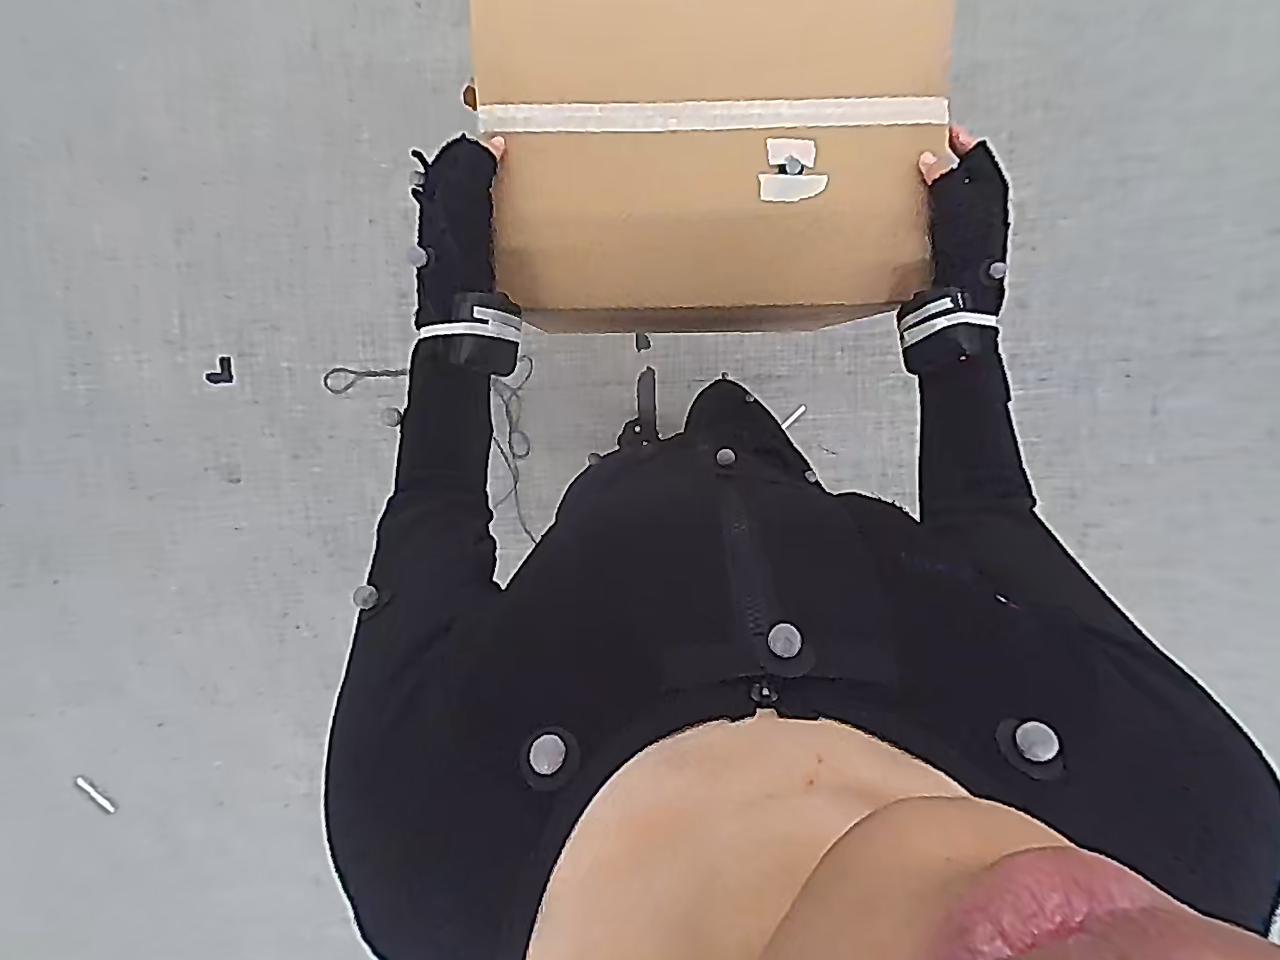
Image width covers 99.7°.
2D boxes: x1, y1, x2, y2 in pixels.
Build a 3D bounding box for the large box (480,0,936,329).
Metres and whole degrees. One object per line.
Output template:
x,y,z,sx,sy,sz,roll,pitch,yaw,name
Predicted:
0.058,-0.355,0.632,0.408,0.320,0.320,-2,102,-2,large box
